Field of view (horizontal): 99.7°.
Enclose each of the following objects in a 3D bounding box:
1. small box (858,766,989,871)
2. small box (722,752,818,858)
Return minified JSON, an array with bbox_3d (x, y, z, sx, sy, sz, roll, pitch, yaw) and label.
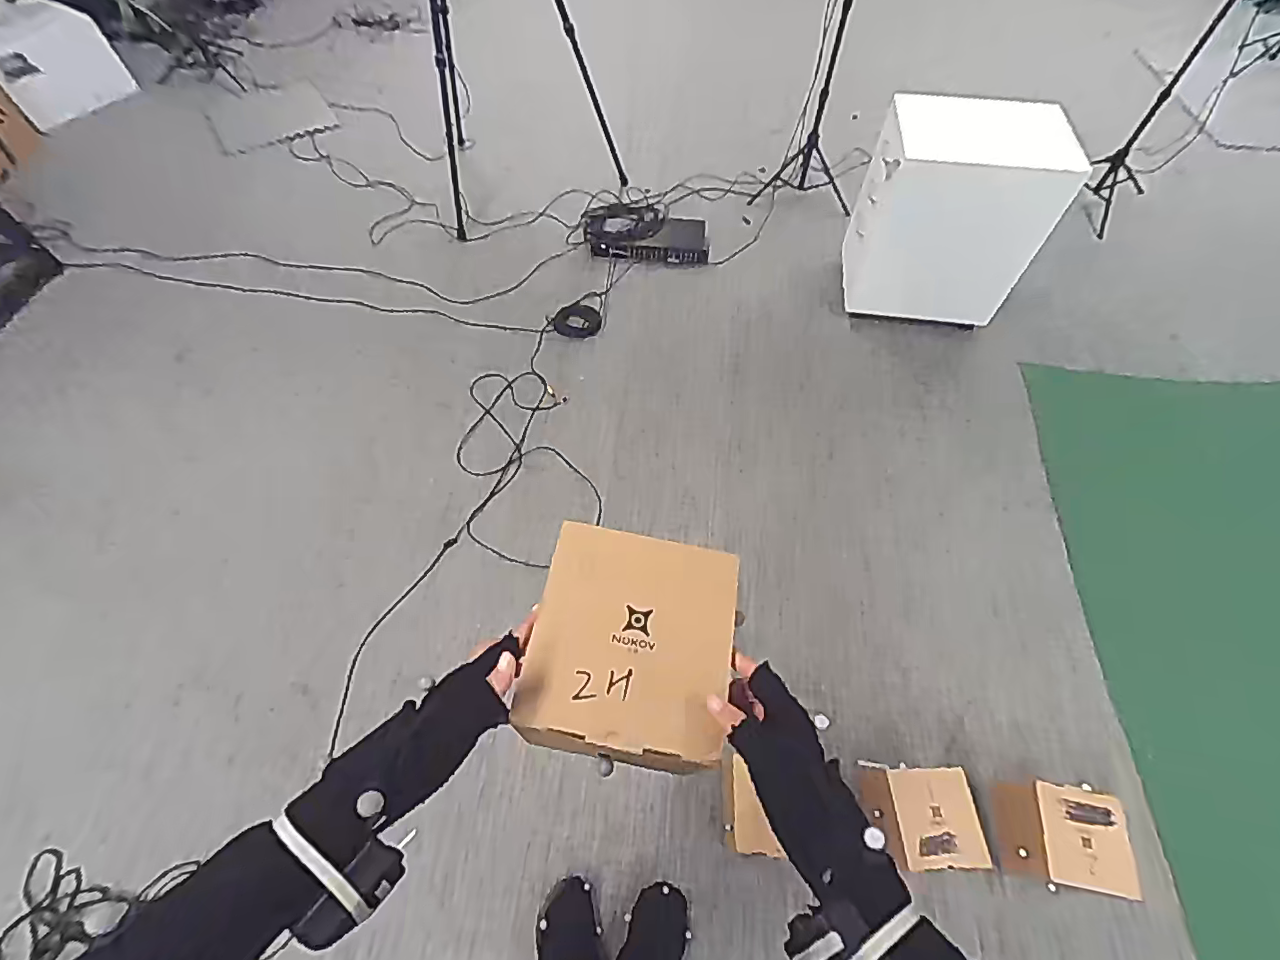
[{"bbox_3d":[0.584,0.710,1.141,0.168,0.176,0.179,-1,58,-1],"label":"small box"},{"bbox_3d":[0.267,0.691,1.154,0.168,0.176,0.179,2,59,2],"label":"small box"}]
